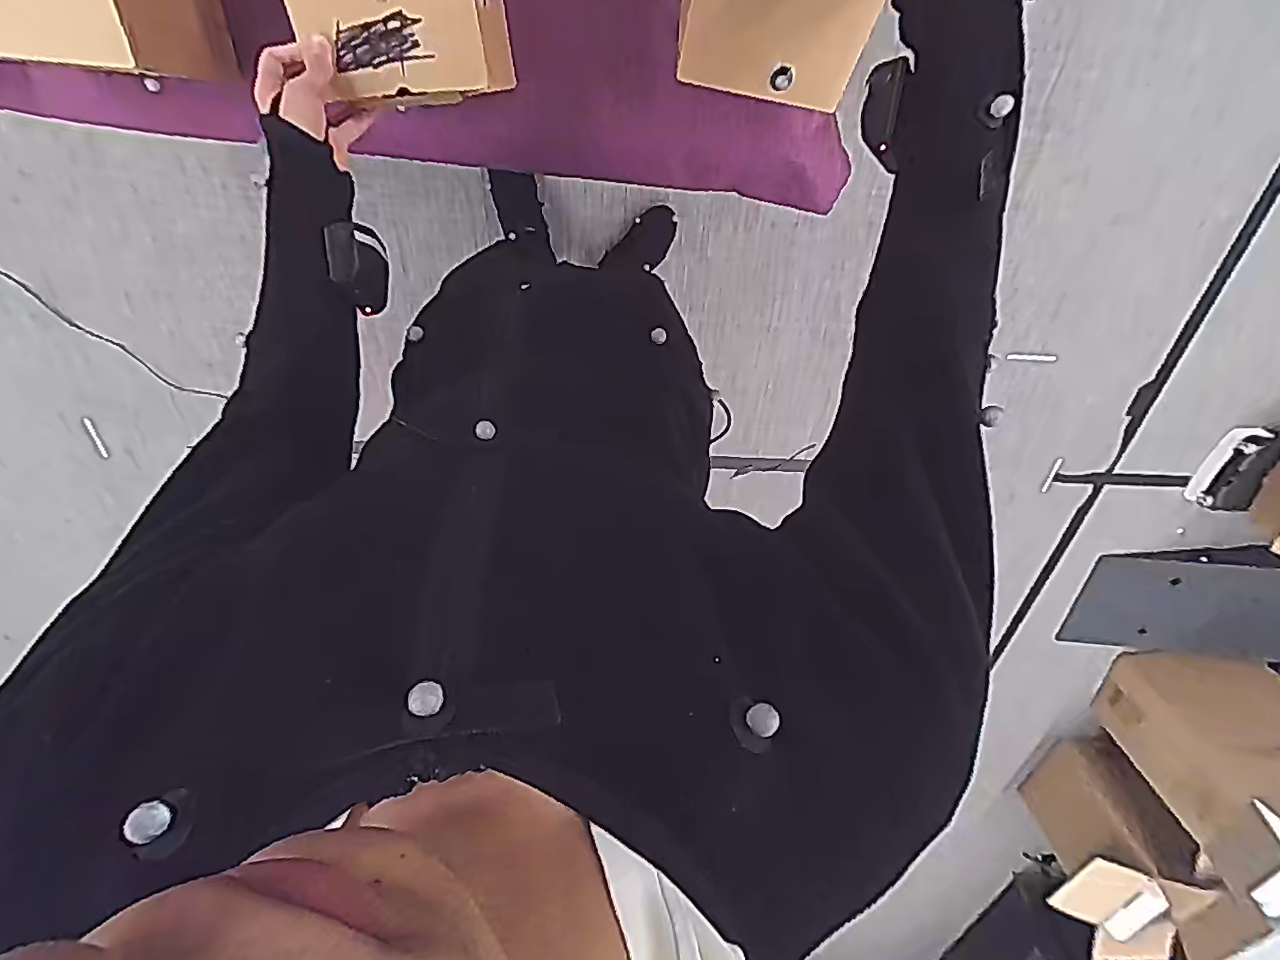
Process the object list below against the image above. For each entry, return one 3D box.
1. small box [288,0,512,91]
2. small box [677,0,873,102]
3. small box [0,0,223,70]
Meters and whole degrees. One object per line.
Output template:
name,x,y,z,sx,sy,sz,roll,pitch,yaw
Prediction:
small box,-0.230,-0.489,0.522,0.168,0.176,0.179,-4,126,0
small box,0.132,-0.498,0.494,0.168,0.179,0.176,7,154,-6
small box,-0.540,-0.500,0.508,0.179,0.176,0.168,2,122,-5
